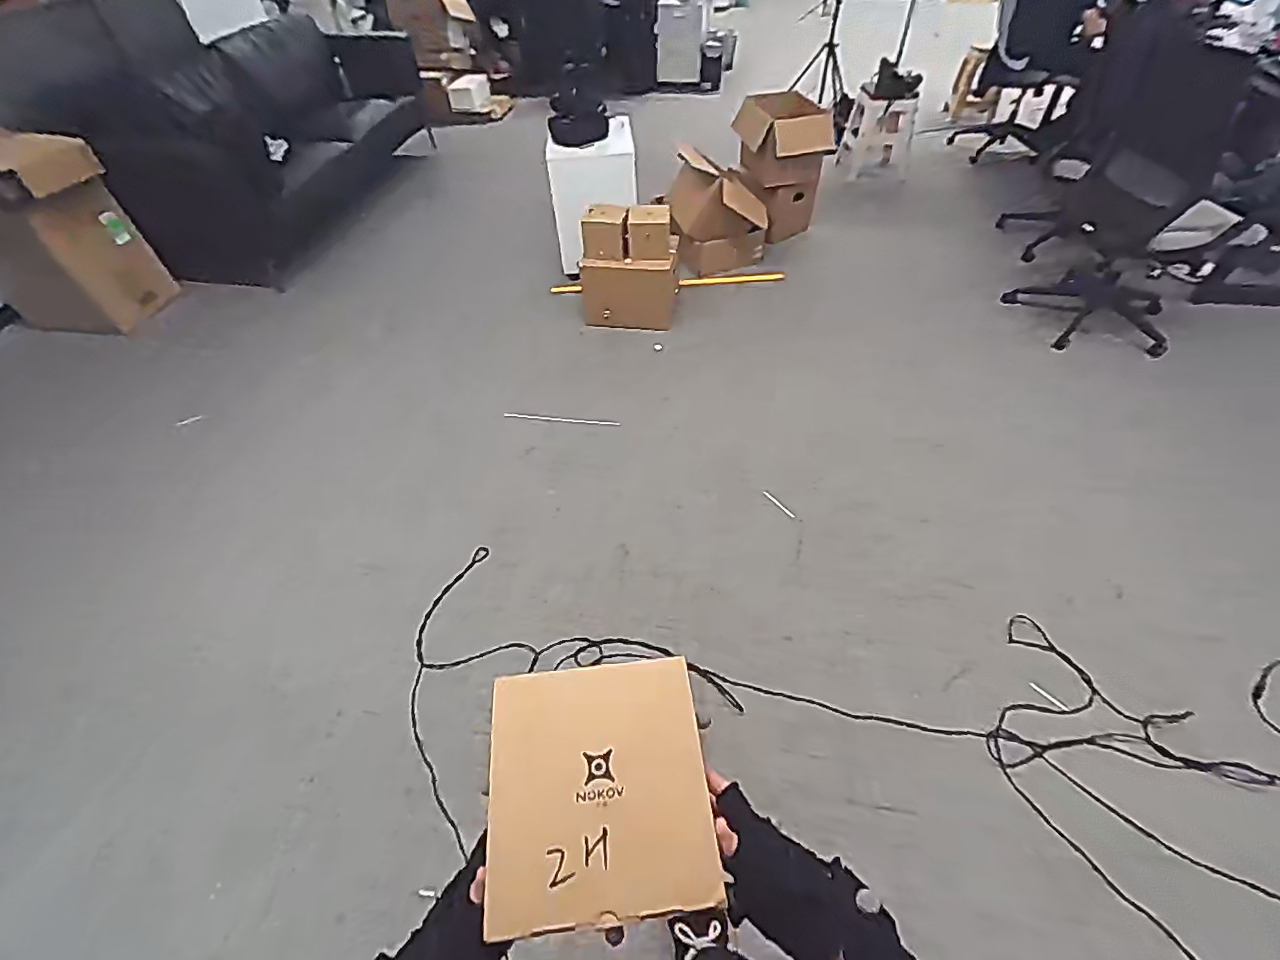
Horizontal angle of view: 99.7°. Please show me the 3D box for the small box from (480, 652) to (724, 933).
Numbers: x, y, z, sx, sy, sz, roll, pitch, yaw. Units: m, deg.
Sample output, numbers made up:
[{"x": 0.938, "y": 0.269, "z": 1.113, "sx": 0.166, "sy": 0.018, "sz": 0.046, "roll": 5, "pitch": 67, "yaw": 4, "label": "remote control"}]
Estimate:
[{"x": -0.033, "y": 0.271, "z": 0.470, "sx": 0.168, "sy": 0.176, "sz": 0.179, "roll": -5, "pitch": 53, "yaw": -4, "label": "small box"}]
